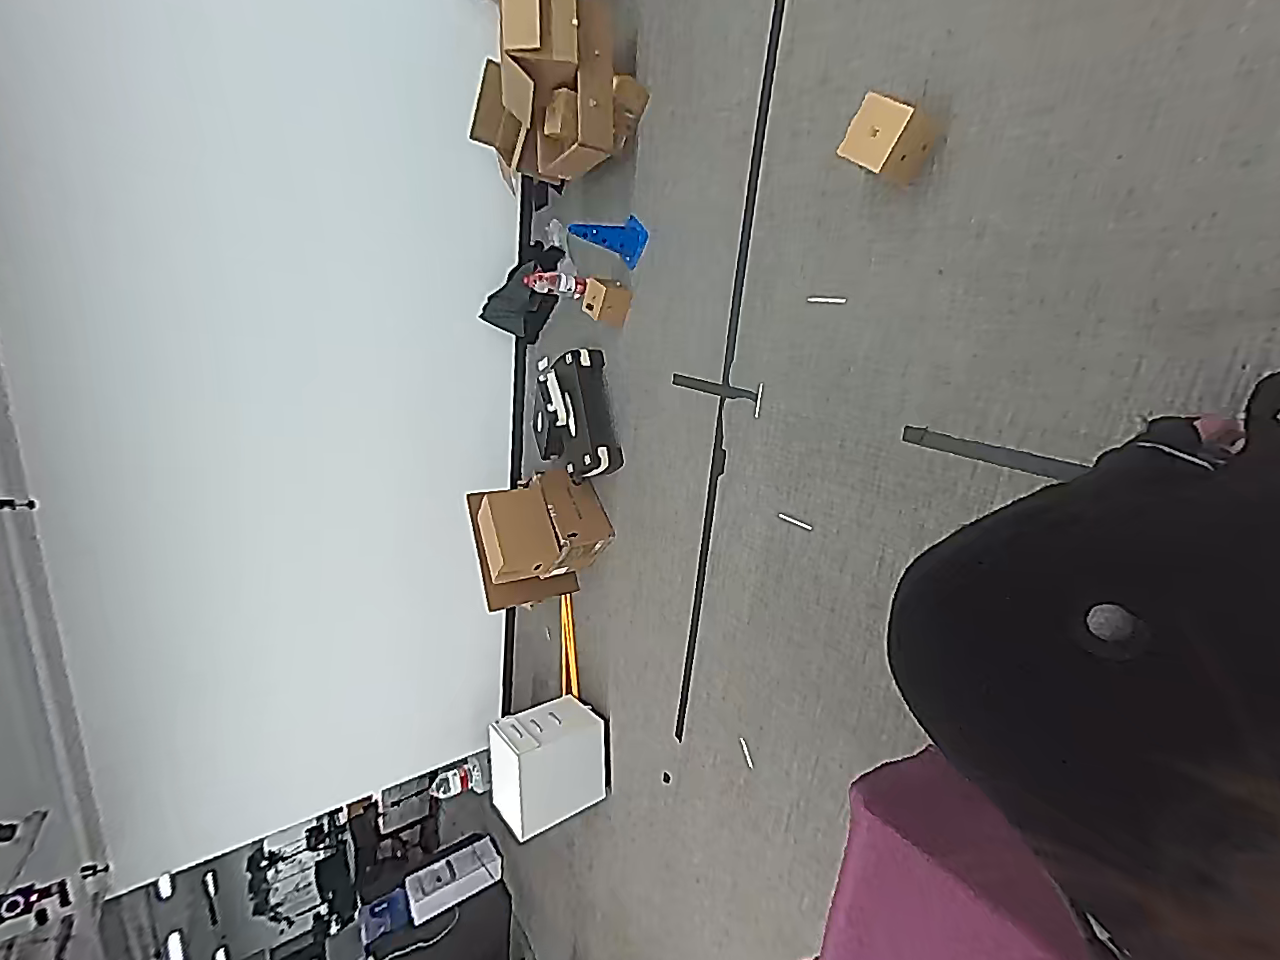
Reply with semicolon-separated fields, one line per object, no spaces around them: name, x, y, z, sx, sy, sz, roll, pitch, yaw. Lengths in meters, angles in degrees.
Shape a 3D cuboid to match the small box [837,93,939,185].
small box;0.721;-0.983;1.569;0.179;0.176;0.168;54;134;34
